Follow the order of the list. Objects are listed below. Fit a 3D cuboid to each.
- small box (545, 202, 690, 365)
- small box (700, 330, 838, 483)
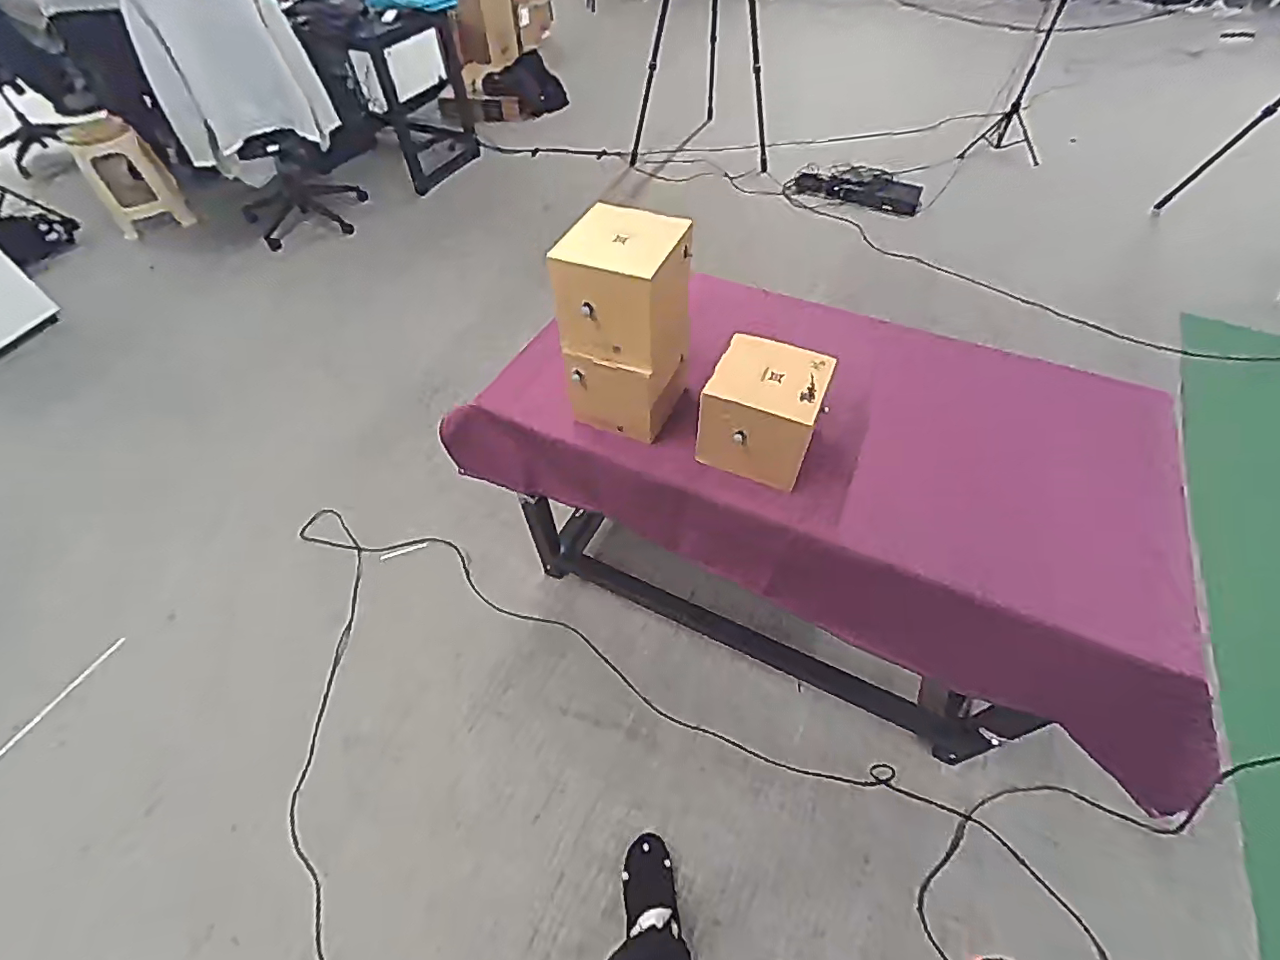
[{"bbox_3d":[-0.026,-0.310,0.861,0.168,0.176,0.179,17,54,15],"label":"small box"},{"bbox_3d":[0.208,-0.120,0.909,0.179,0.176,0.168,19,56,16],"label":"small box"}]
